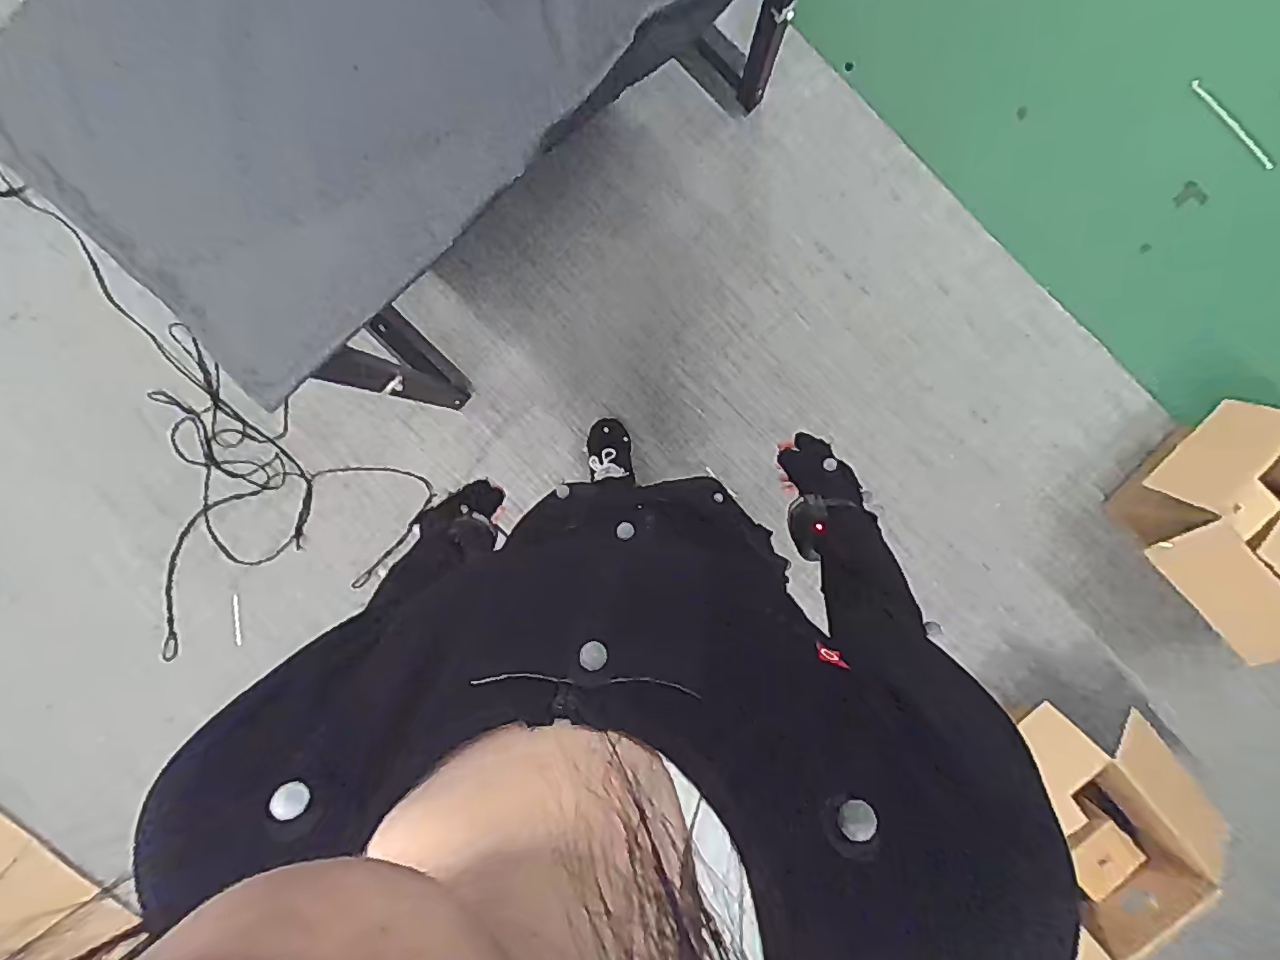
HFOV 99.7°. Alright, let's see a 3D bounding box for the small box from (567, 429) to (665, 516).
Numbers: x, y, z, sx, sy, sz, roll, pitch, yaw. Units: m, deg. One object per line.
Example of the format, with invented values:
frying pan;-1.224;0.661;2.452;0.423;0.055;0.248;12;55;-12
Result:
small box;-0.071;-0.025;1.428;0.179;0.176;0.168;37;110;20
